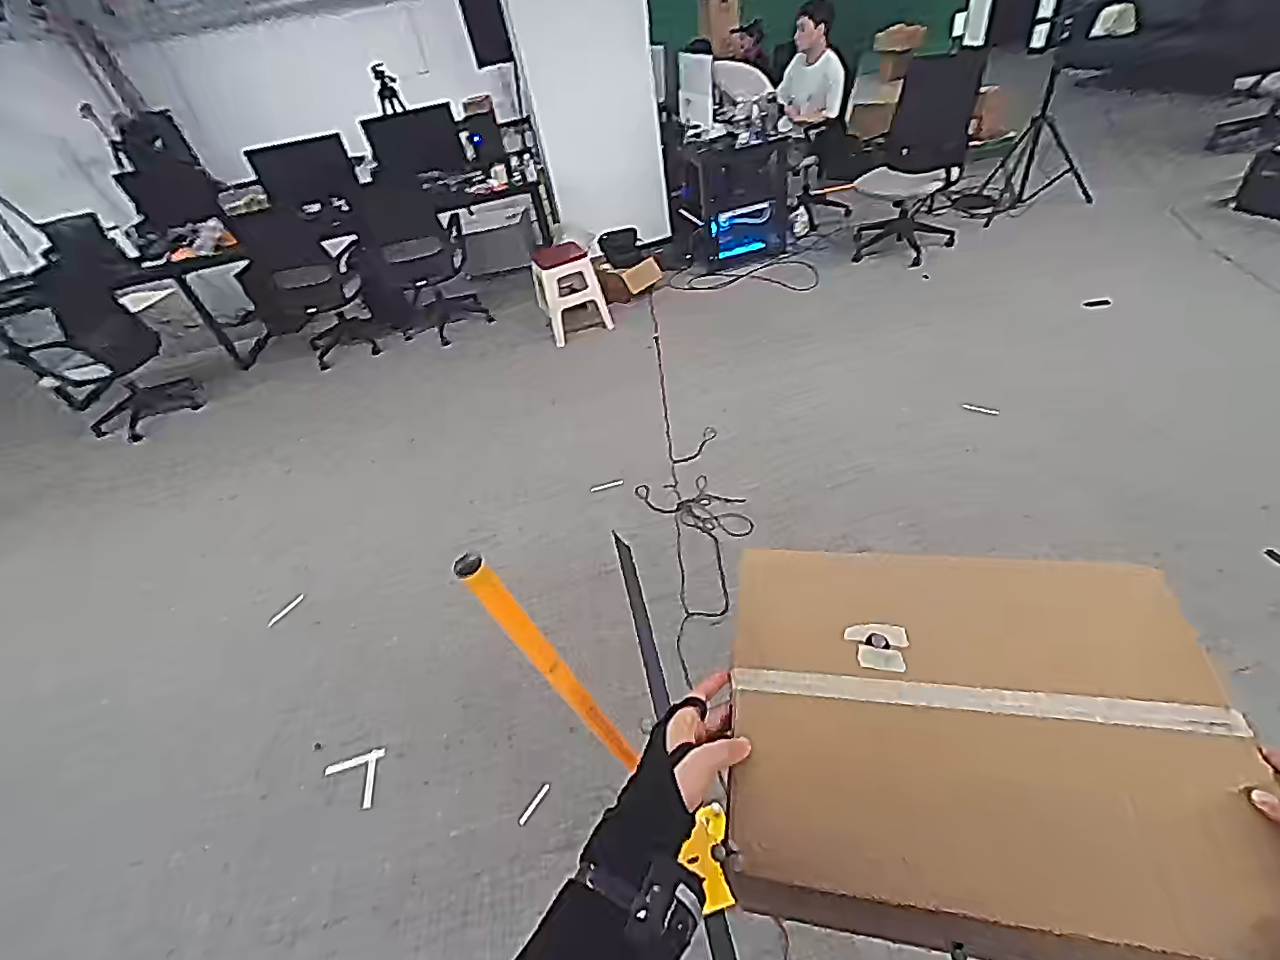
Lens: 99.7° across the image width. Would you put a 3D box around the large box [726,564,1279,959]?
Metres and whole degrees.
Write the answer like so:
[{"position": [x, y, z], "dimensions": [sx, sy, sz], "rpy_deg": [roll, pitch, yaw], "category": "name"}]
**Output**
[{"position": [0.315, 0.310, 0.602], "dimensions": [0.408, 0.320, 0.320], "rpy_deg": [0, 46, 14], "category": "large box"}]
